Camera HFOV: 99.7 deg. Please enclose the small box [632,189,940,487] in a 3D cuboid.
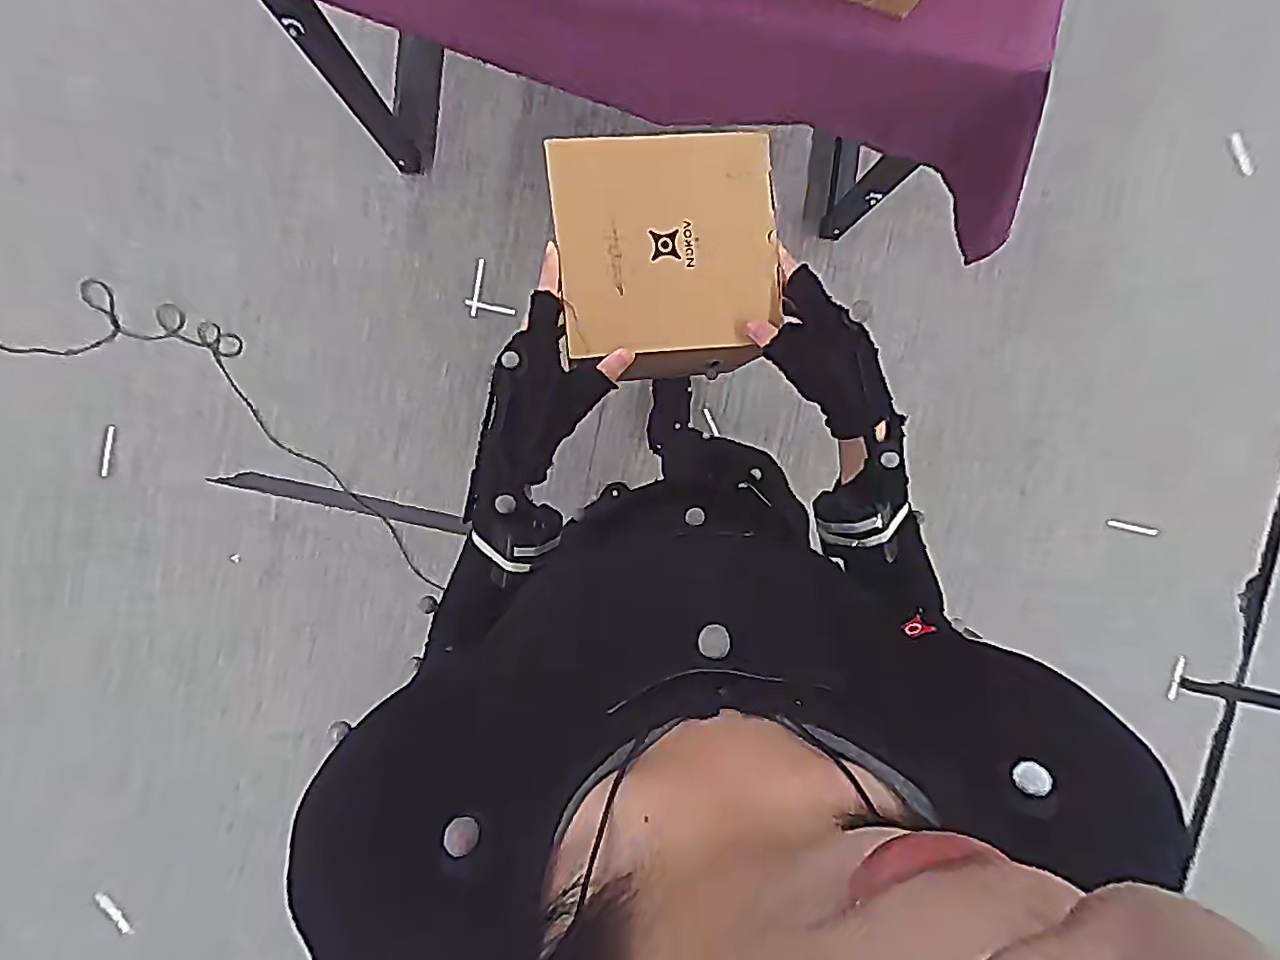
[{"bbox_3d":[0.134,-0.126,0.480,0.179,0.168,0.176,55,47,-5],"label":"small box"}]
